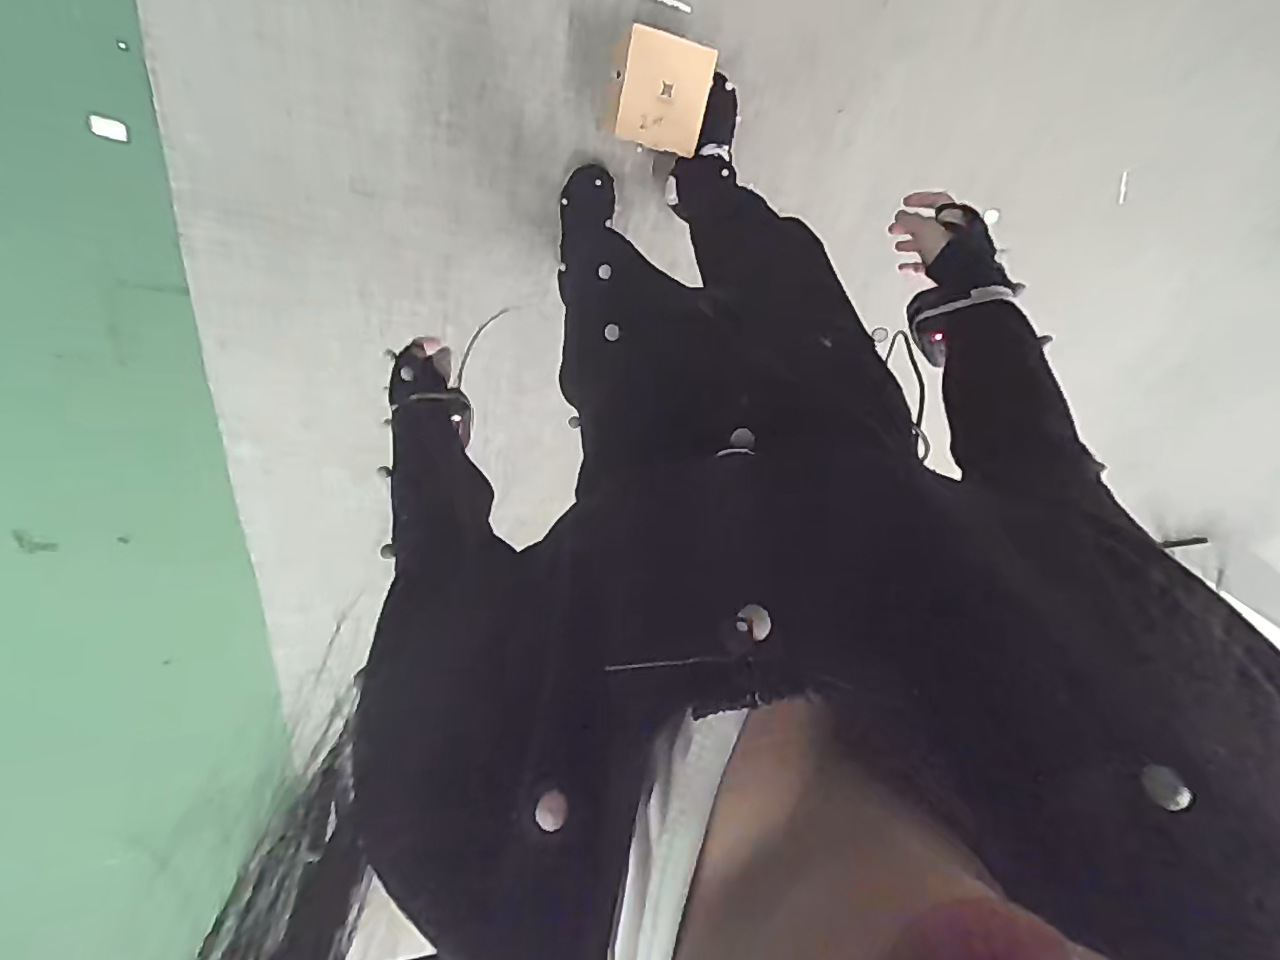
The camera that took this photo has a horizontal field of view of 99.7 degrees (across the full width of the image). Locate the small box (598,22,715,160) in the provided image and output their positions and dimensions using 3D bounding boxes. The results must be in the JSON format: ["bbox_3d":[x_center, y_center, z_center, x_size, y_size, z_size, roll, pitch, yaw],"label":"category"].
[{"bbox_3d":[0.022,-0.753,1.056,0.168,0.176,0.179,4,124,-19],"label":"small box"}]
